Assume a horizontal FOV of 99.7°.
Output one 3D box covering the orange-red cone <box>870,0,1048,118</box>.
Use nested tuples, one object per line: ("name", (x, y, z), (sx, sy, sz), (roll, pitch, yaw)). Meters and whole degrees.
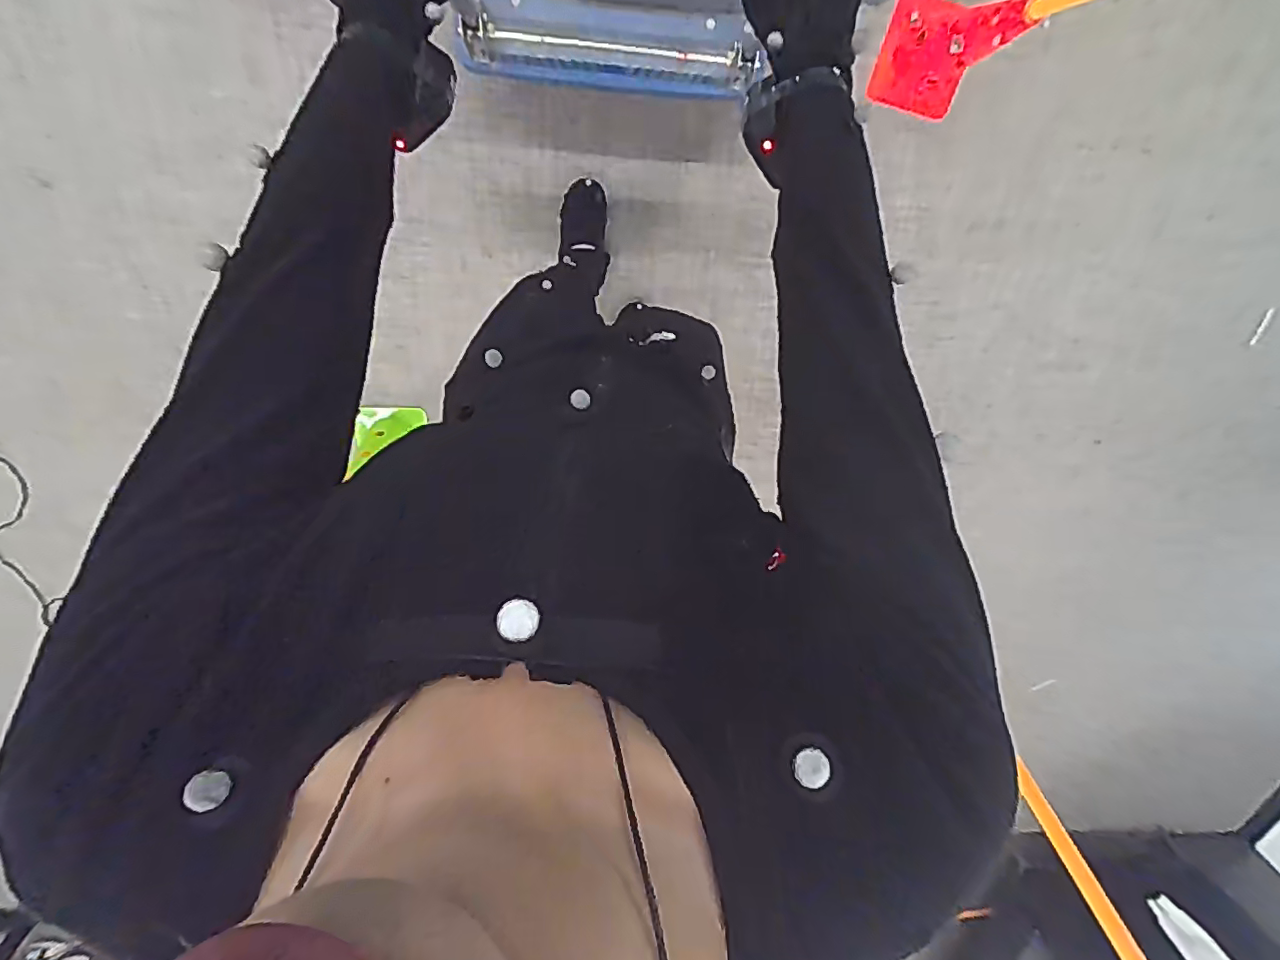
("orange-red cone", (0.623, -0.832, 1.010), (0.198, 0.360, 0.199), (12, 118, -9))
